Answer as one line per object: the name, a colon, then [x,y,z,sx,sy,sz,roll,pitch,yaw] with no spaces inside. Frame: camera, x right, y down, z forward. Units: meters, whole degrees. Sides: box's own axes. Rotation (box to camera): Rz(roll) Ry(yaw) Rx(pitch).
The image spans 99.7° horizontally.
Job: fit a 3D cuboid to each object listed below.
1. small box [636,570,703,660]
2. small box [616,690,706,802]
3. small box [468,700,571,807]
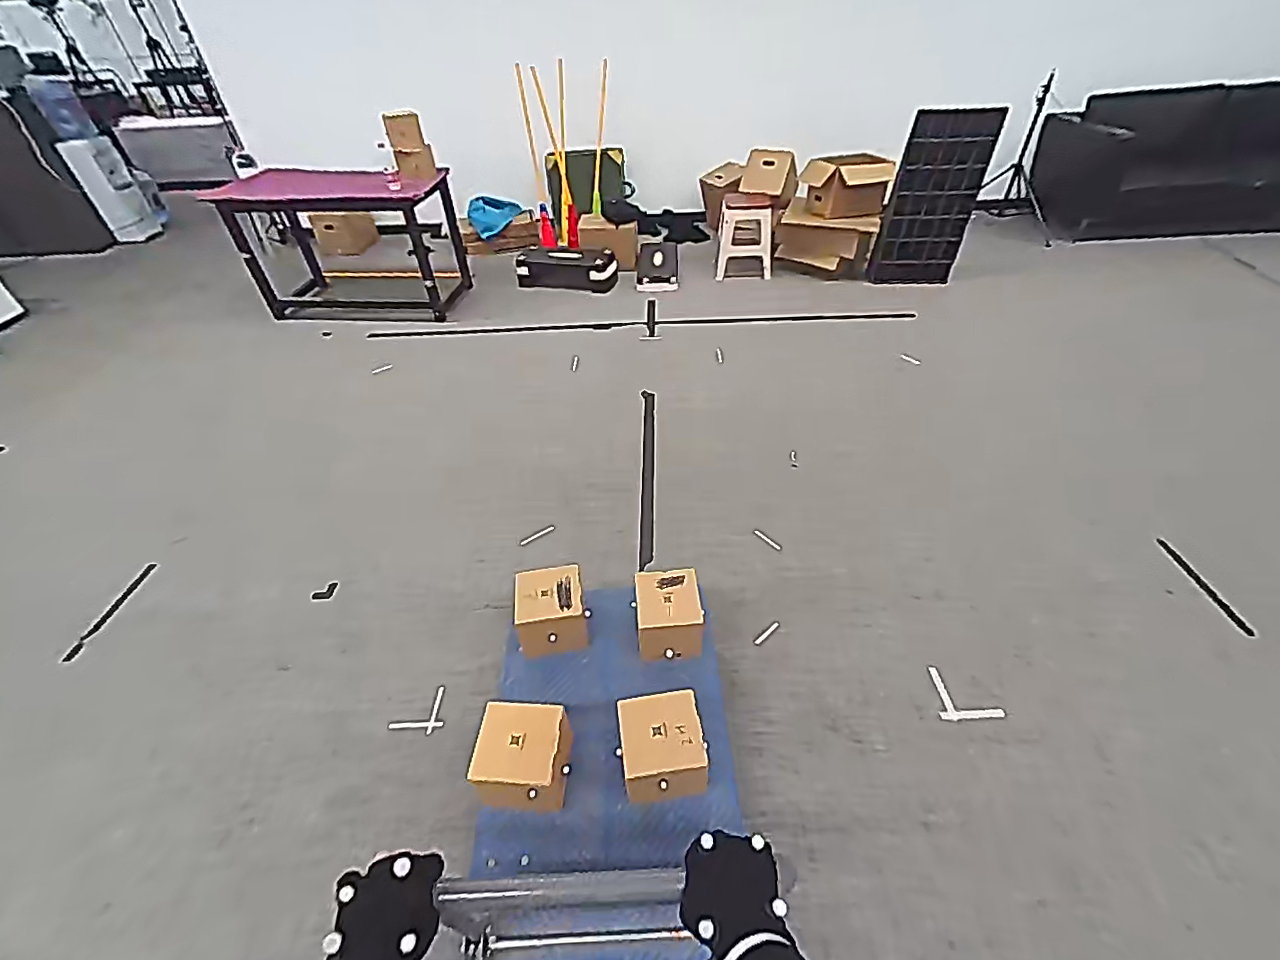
small box: [0.076,0.367,1.469,0.168,0.176,0.179,-4,43,-1]
small box: [0.046,0.599,1.215,0.179,0.176,0.168,-7,42,-4]
small box: [-0.261,0.616,1.215,0.179,0.176,0.168,2,42,3]
